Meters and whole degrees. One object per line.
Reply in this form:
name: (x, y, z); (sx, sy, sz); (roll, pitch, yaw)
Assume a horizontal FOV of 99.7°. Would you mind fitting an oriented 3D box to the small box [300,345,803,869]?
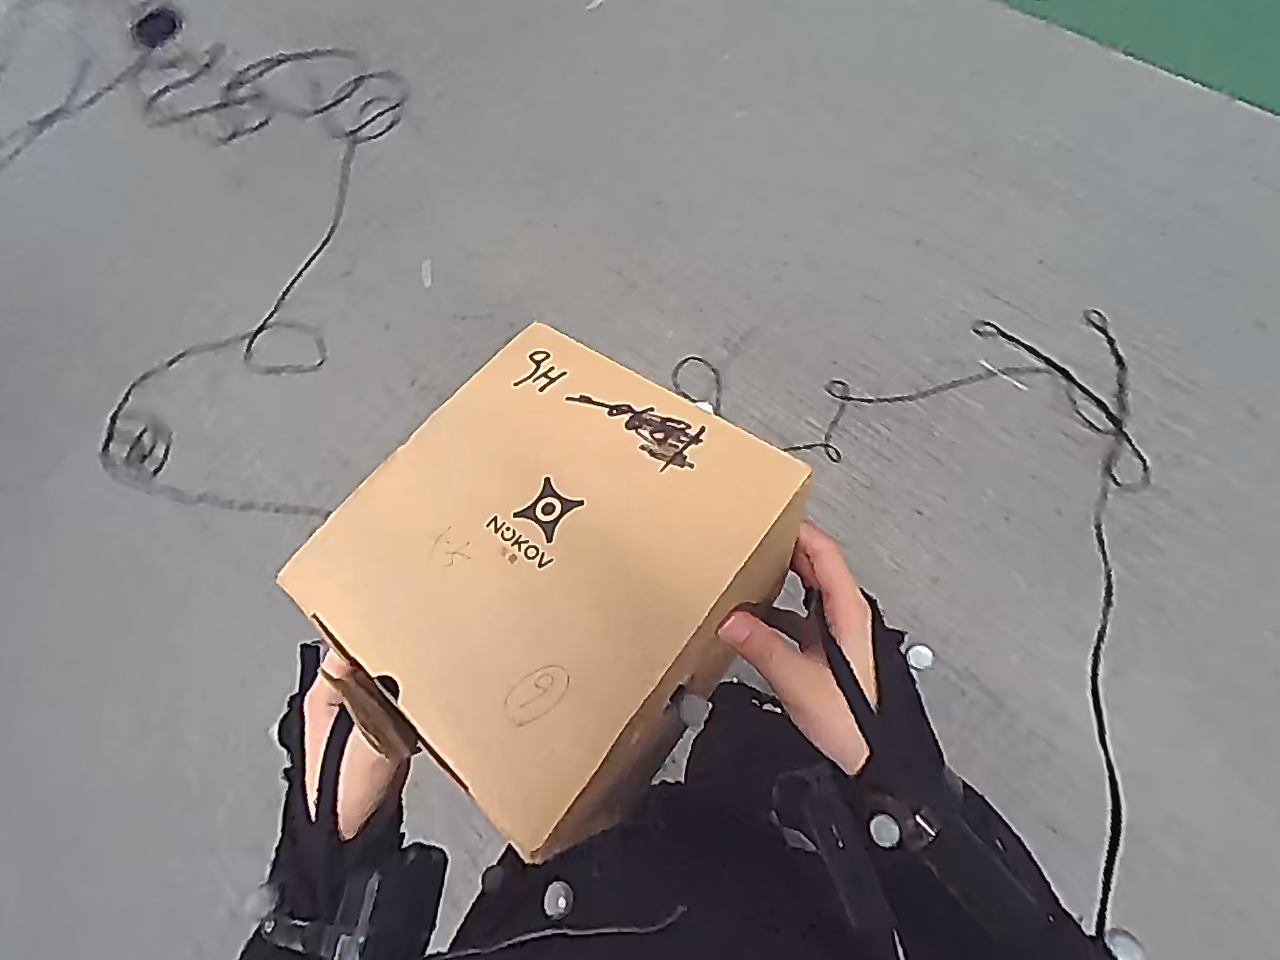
small box: (-0.029, 0.067, 0.306); (0.168, 0.176, 0.179); (33, 73, 24)
